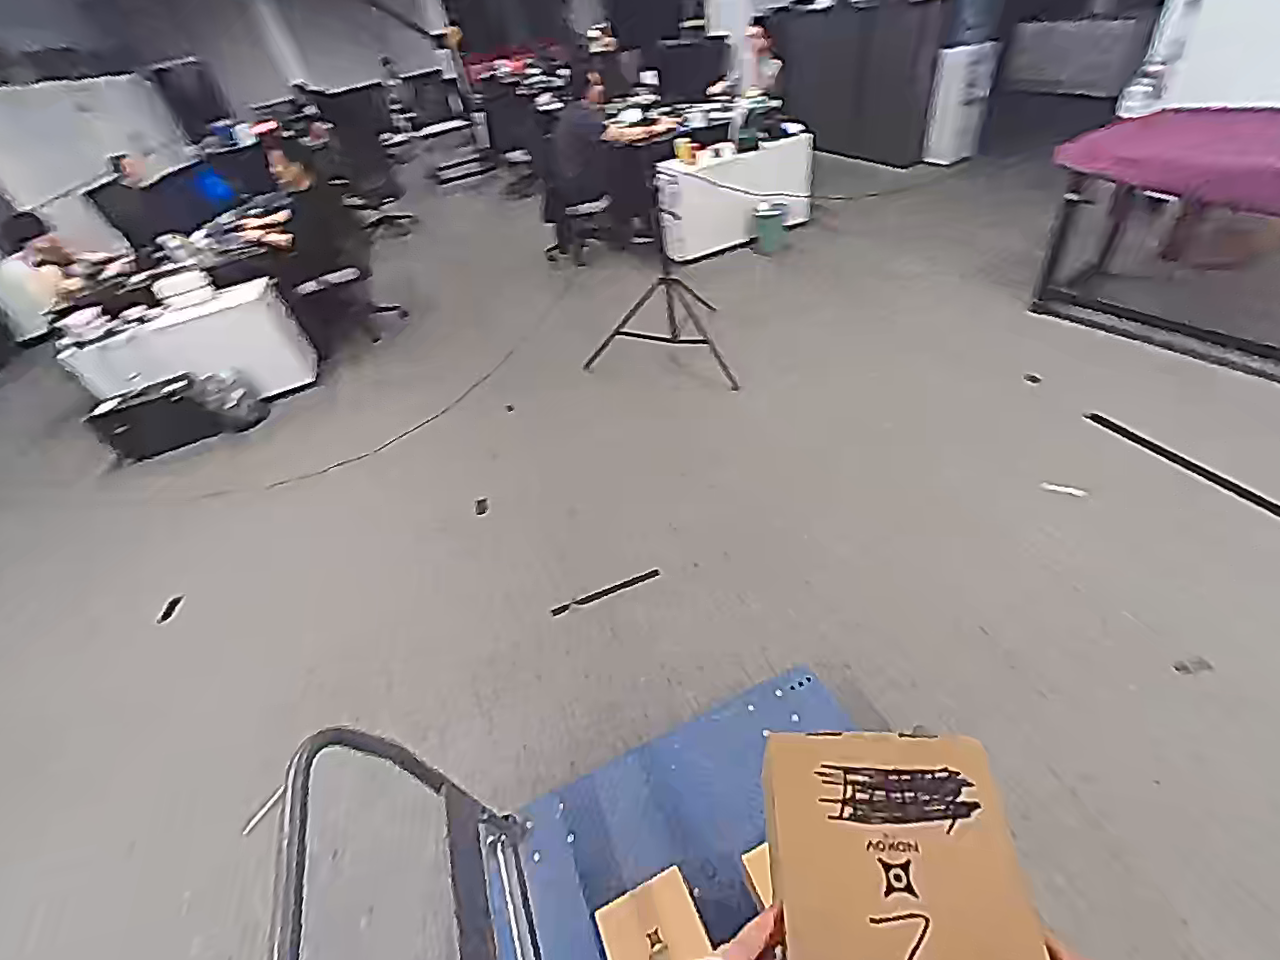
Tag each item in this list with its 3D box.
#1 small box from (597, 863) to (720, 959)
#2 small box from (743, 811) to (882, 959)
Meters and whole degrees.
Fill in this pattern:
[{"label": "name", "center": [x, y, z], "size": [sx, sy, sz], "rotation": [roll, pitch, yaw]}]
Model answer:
[{"label": "small box", "center": [0.042, 0.832, 0.956], "size": [0.168, 0.176, 0.179], "rotation": [-24, 43, -11]}, {"label": "small box", "center": [0.302, 0.751, 0.979], "size": [0.168, 0.176, 0.179], "rotation": [-23, 43, -11]}]
